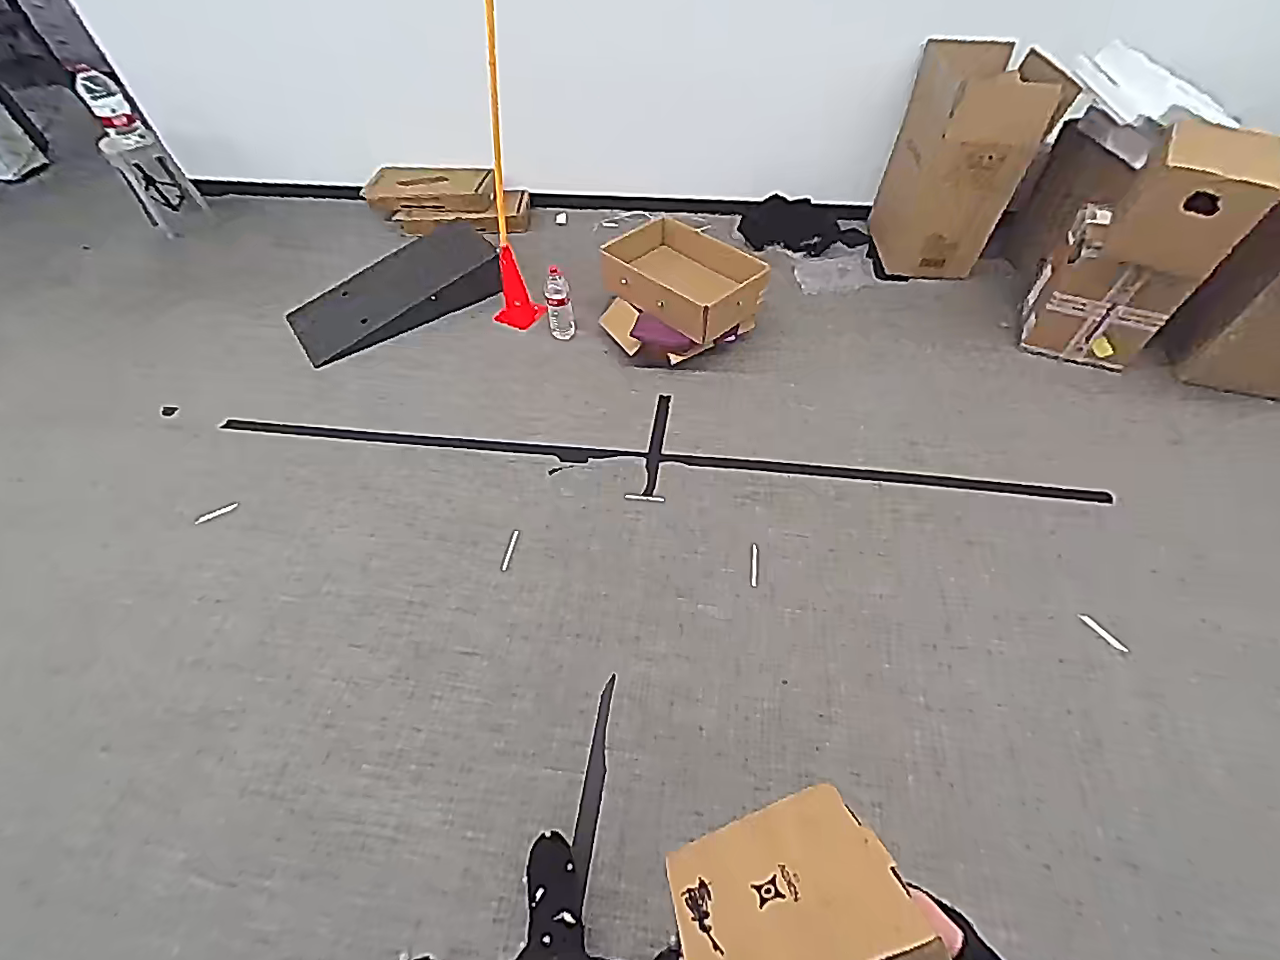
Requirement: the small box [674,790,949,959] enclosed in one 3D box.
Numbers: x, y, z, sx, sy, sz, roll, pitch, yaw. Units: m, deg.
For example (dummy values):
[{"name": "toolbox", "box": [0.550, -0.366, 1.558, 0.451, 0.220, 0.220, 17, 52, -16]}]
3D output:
[{"name": "small box", "box": [0.147, 0.415, 0.453, 0.179, 0.168, 0.176, -21, 95, -4]}]
